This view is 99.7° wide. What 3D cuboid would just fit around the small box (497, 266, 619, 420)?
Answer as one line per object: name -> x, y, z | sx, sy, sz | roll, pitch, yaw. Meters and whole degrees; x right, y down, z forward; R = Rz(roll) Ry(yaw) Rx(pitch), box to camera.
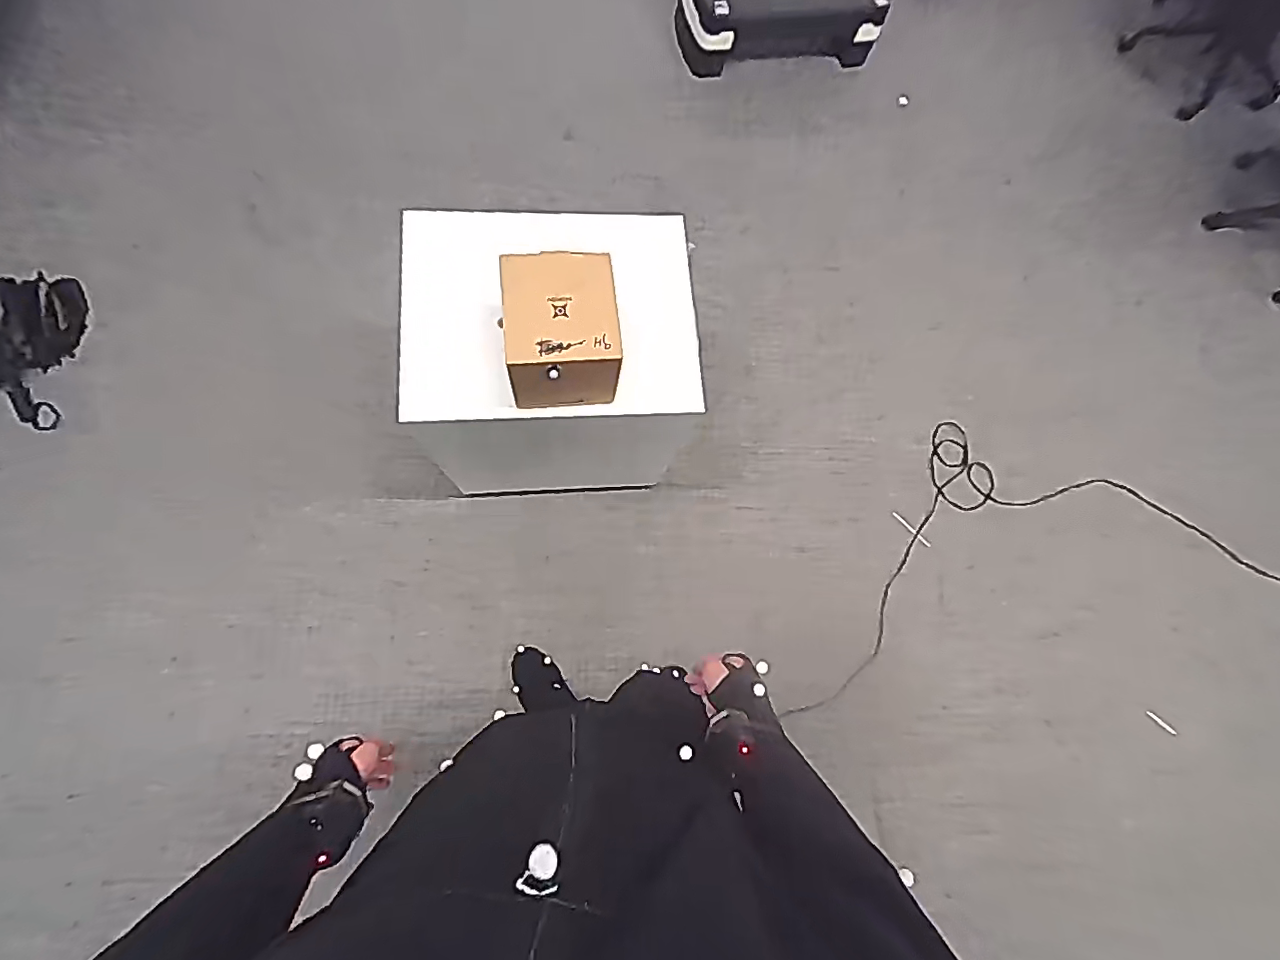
small box -> -0.130, -0.210, 0.854 | 0.168, 0.176, 0.179 | -6, 75, -9
